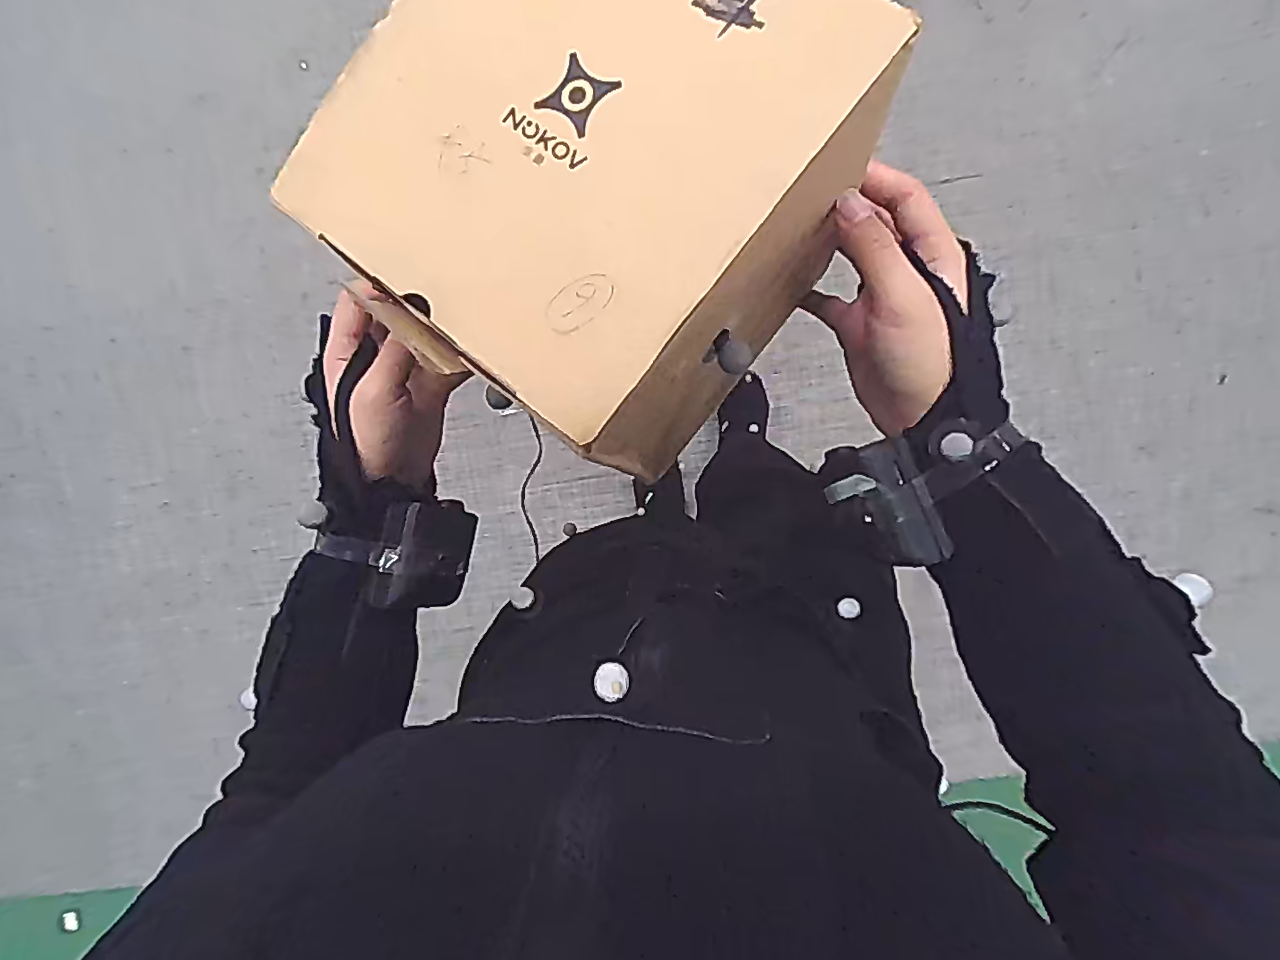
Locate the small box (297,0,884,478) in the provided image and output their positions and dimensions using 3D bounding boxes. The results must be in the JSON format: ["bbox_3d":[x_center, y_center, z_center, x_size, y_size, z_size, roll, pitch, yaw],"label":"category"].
[{"bbox_3d":[-0.014,-0.115,0.280,0.168,0.176,0.179,39,93,10],"label":"small box"}]
